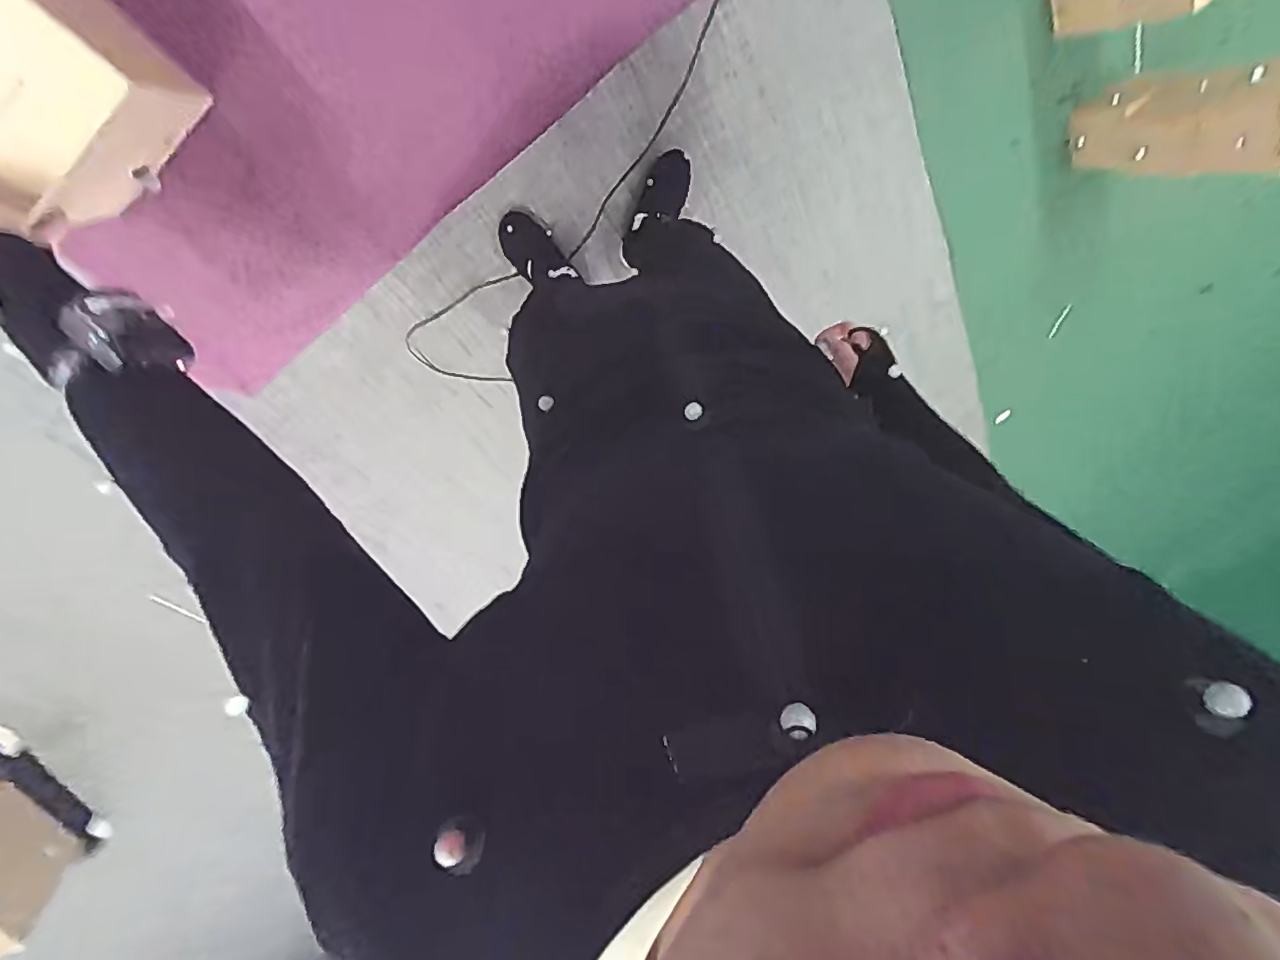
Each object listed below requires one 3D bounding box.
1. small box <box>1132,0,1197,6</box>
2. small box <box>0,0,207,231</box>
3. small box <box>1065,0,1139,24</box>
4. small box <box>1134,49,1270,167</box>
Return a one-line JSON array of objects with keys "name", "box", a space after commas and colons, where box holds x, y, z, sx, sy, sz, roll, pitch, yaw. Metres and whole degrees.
[{"name": "small box", "box": [1.183, -1.153, 1.141, 0.168, 0.176, 0.179, -39, 124, 9]}, {"name": "small box", "box": [-0.532, -0.346, 0.457, 0.168, 0.176, 0.179, -40, 124, 11]}, {"name": "small box", "box": [1.144, -1.233, 1.278, 0.179, 0.176, 0.168, -37, 123, 7]}, {"name": "small box", "box": [1.402, -0.920, 1.349, 0.179, 0.176, 0.168, -43, 122, 13]}]
